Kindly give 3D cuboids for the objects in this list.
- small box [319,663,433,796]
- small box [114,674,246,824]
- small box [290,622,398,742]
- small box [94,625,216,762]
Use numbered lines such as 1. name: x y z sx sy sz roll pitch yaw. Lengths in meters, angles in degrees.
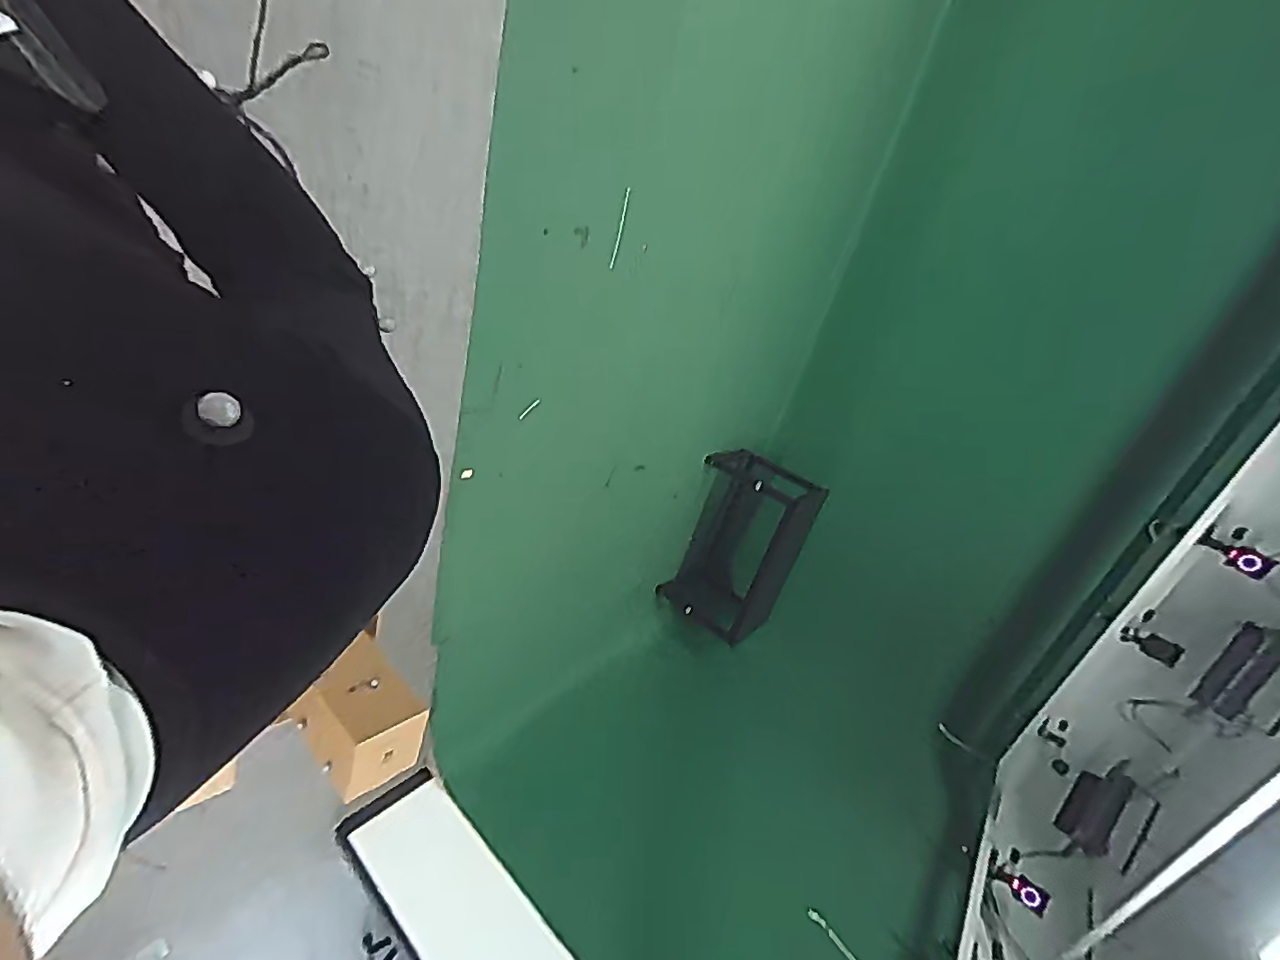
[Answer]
1. small box: -0.598 0.551 1.217 0.168 0.176 0.179 -10 125 -53
2. small box: -0.904 0.511 1.062 0.168 0.176 0.179 -8 124 -51
3. small box: -0.717 0.477 1.300 0.168 0.176 0.179 -8 124 -53
4. small box: -1.028 0.443 1.148 0.168 0.176 0.179 -10 124 -51
